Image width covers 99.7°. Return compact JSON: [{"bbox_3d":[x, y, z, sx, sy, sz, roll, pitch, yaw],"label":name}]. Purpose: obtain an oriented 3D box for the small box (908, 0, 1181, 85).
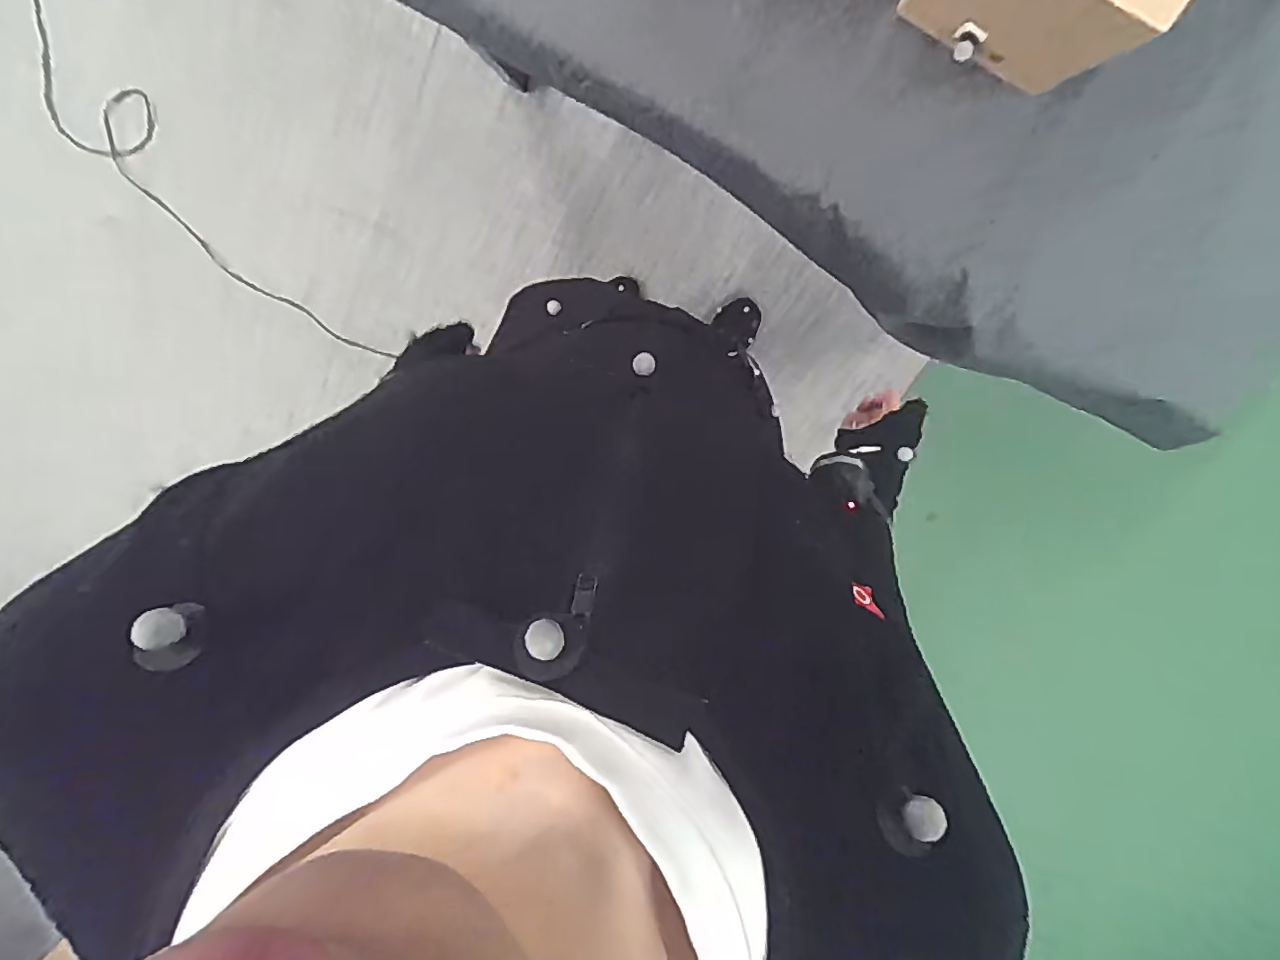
[{"bbox_3d":[0.351,-0.464,0.428,0.168,0.176,0.179,25,113,-5],"label":"small box"}]
